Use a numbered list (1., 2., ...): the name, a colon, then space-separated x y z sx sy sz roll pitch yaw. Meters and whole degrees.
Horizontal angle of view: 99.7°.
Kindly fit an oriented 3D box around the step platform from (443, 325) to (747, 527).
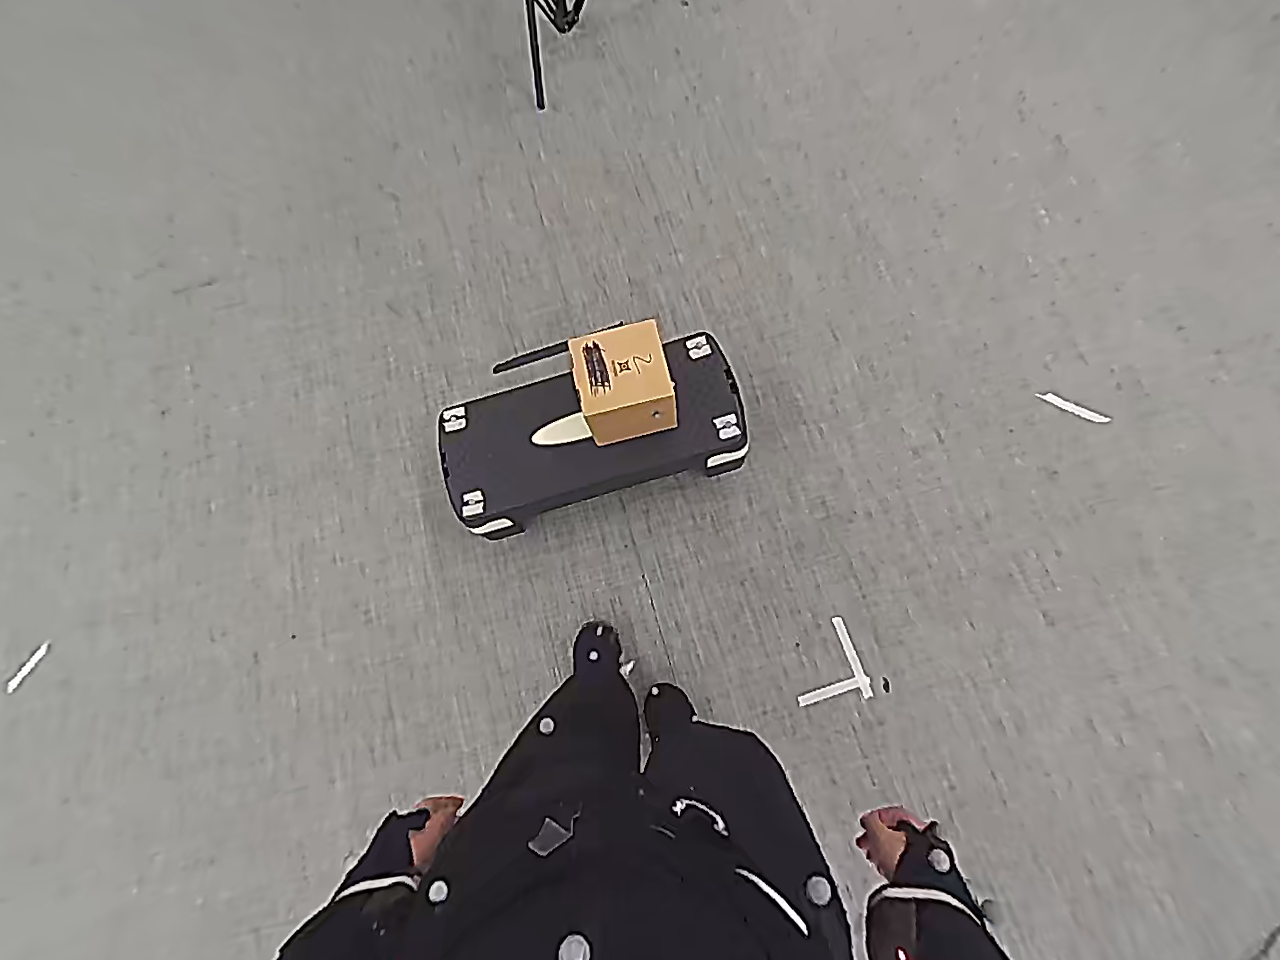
1. step platform: -0.101 -0.120 1.264 0.684 0.204 0.286 -17 74 1
